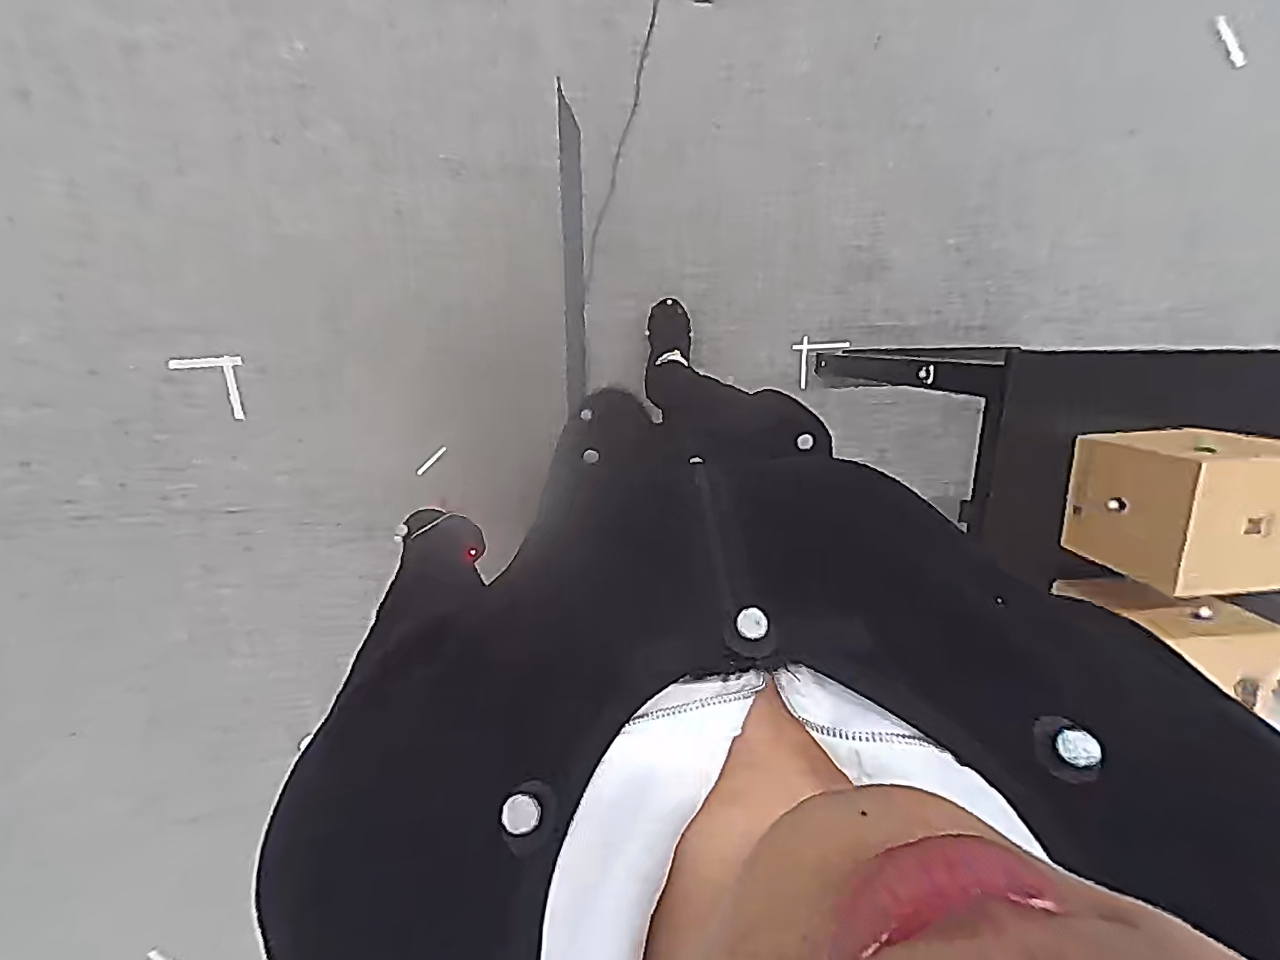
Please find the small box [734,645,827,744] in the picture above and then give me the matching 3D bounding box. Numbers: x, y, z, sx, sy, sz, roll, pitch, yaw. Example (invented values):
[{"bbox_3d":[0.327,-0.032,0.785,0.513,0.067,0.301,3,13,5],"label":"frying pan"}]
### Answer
[{"bbox_3d":[0.405,0.620,1.584,0.179,0.176,0.168,42,98,-12],"label":"small box"}]
